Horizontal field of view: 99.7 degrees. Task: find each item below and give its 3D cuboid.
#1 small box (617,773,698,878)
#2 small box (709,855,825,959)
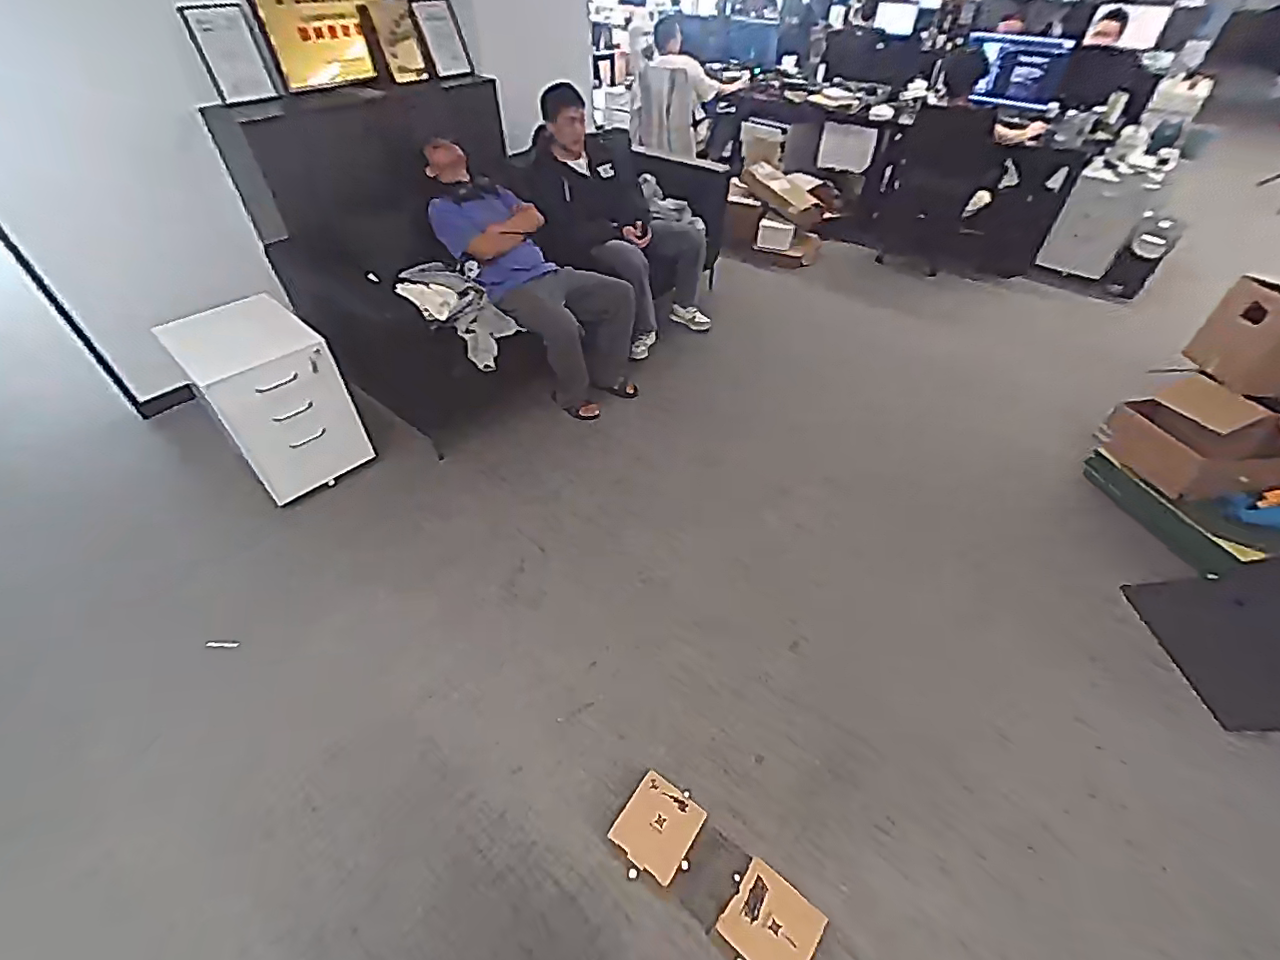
[{"bbox_3d":[0.047,0.830,1.296,0.179,0.176,0.168,4,42,6],"label":"small box"},{"bbox_3d":[0.264,0.963,1.162,0.179,0.176,0.168,33,55,31],"label":"small box"}]
